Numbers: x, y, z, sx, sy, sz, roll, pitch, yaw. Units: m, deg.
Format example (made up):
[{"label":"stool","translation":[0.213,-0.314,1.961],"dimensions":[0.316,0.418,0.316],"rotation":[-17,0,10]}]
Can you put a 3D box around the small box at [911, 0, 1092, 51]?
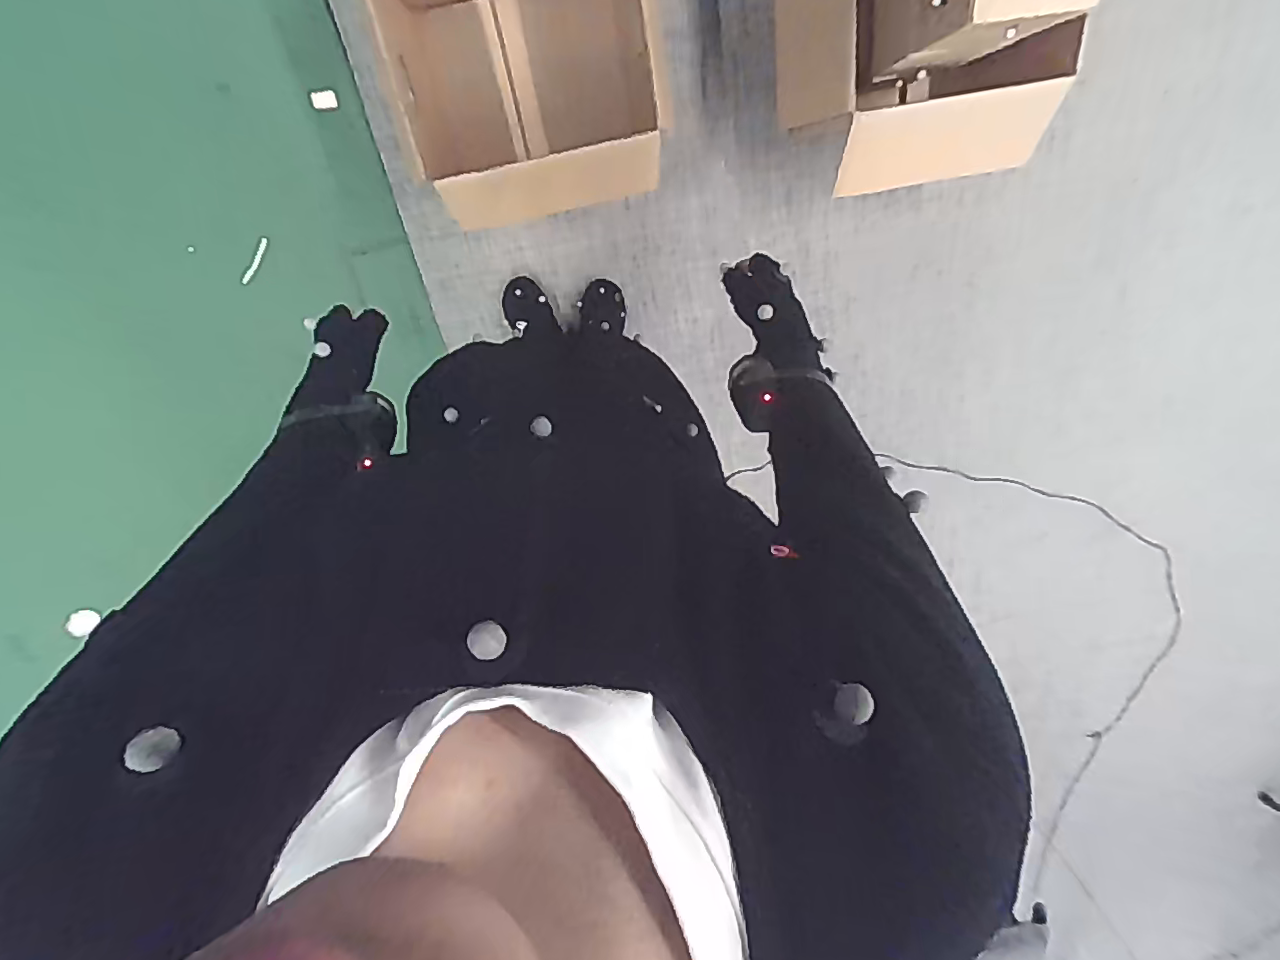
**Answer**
[{"label":"small box","translation":[0.511,-0.739,0.766],"dimensions":[0.179,0.176,0.168],"rotation":[-9,118,0]}]
